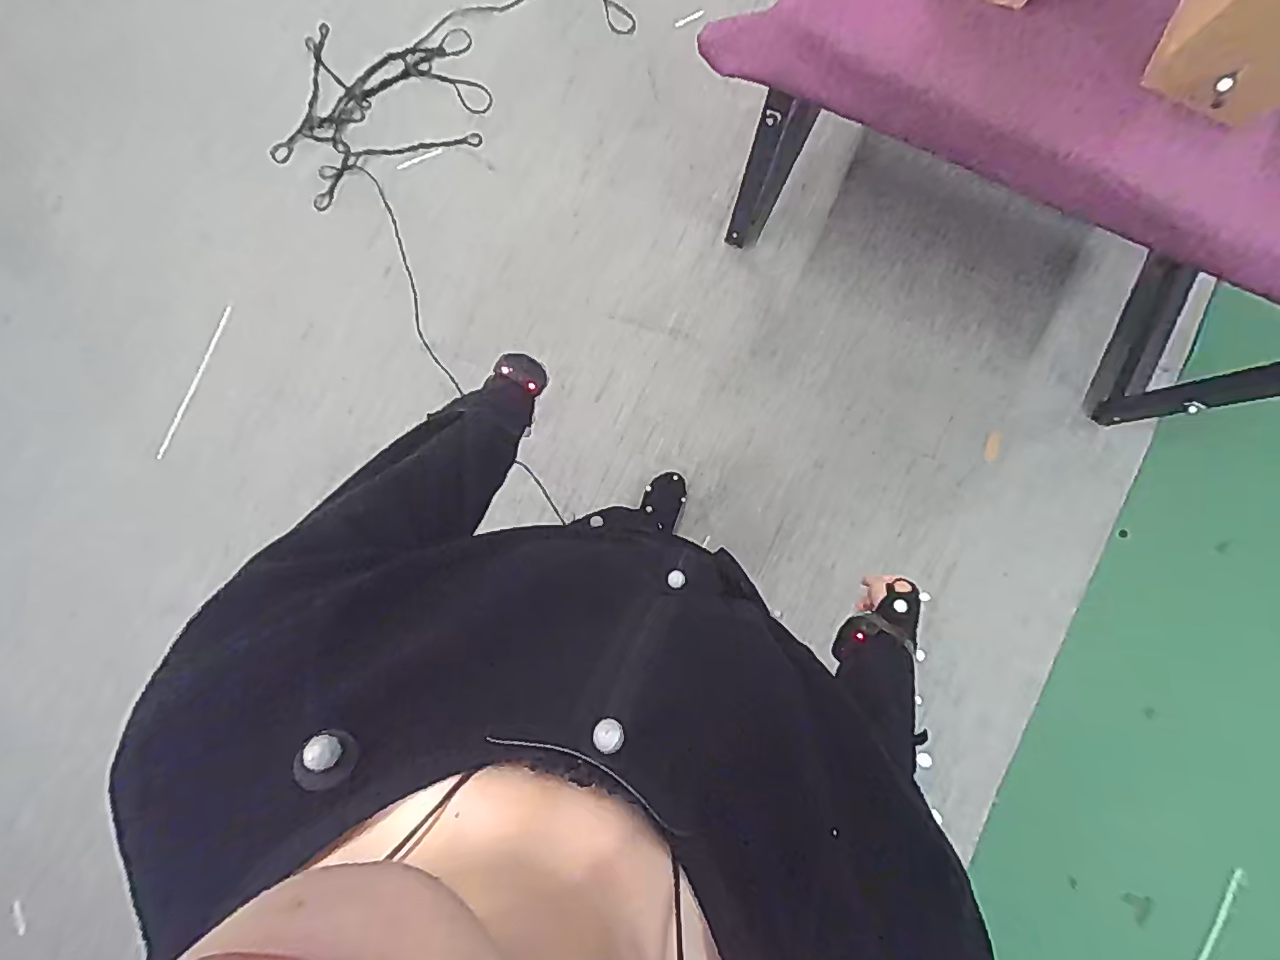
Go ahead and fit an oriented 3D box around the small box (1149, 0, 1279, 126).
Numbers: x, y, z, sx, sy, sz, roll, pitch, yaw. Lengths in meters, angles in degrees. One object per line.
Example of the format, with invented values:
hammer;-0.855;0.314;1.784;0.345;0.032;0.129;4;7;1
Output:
small box;0.844;-0.626;0.713;0.168;0.176;0.179;28;89;2
